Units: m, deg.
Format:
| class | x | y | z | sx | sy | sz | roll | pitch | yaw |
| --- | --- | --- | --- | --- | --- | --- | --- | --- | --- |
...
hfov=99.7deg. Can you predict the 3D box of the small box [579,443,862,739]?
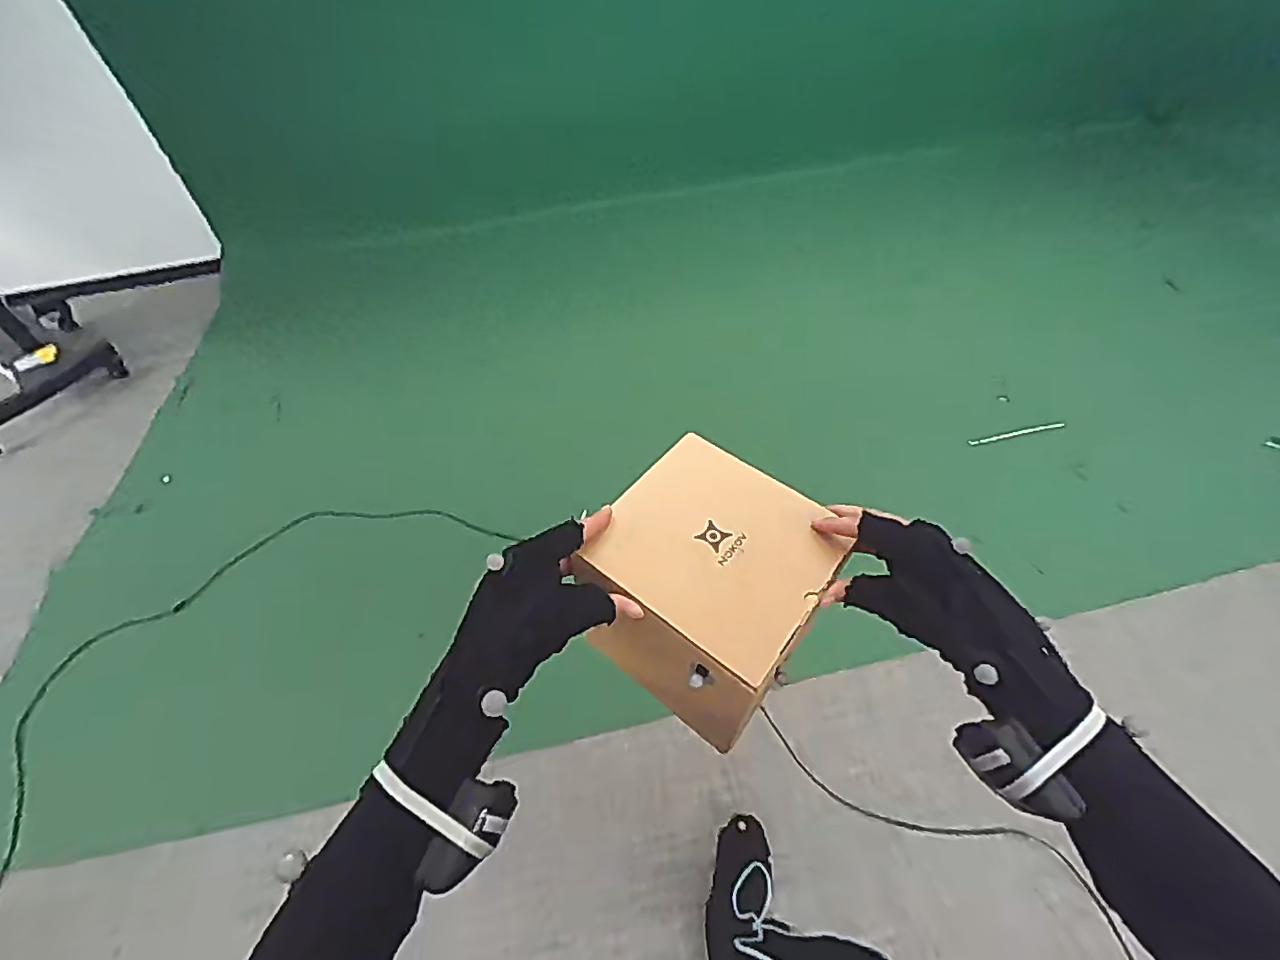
| class | x | y | z | sx | sy | sz | roll | pitch | yaw |
| --- | --- | --- | --- | --- | --- | --- | --- | --- | --- |
| small box | 0.064 | 0.104 | 0.500 | 0.179 | 0.176 | 0.168 | 33 | 57 | 24 |
